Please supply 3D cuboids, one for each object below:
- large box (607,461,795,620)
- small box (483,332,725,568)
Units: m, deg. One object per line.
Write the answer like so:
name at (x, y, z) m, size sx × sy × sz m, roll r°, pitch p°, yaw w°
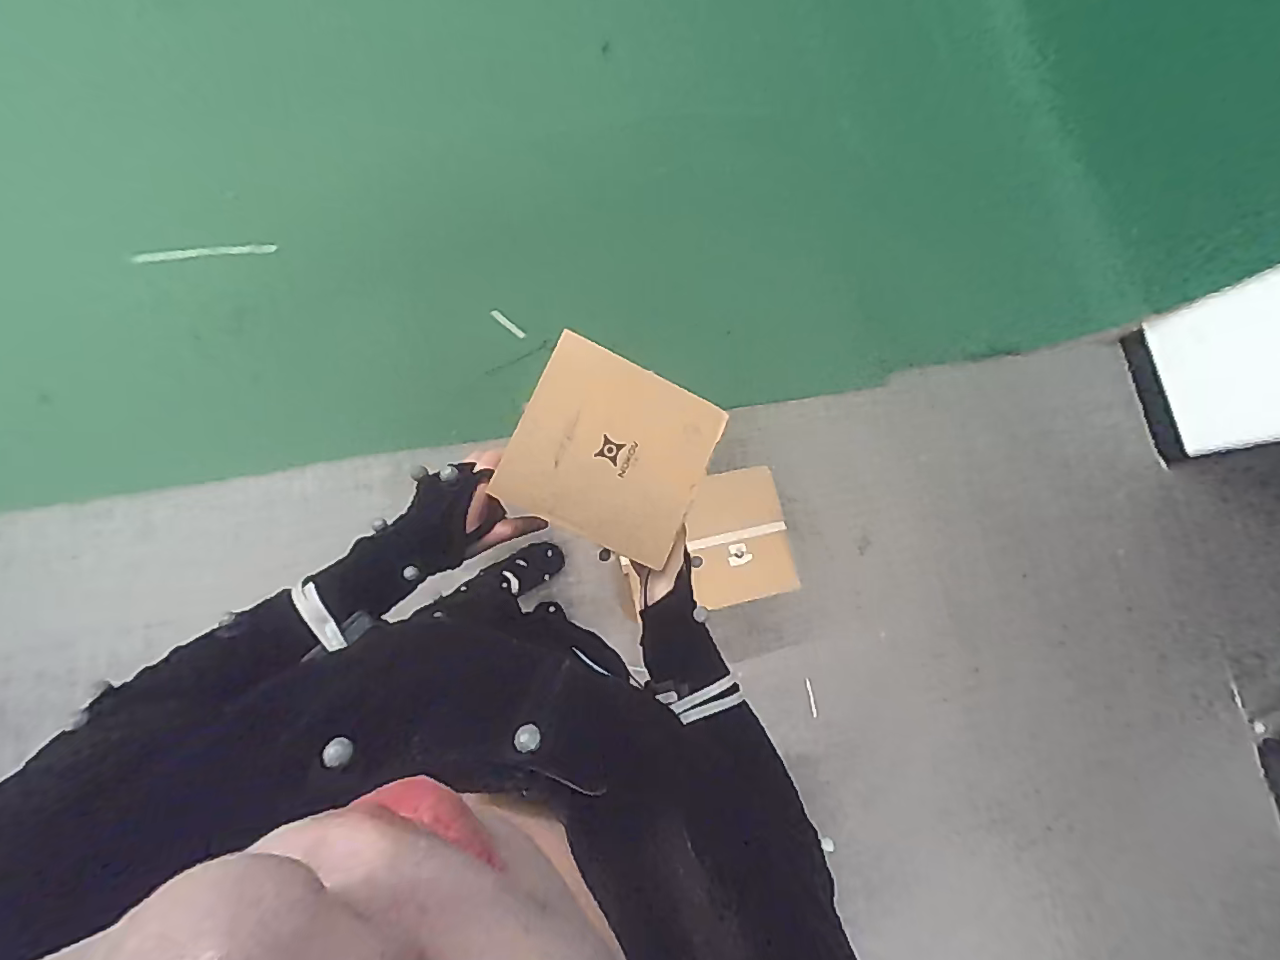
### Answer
large box at (0.127, 0.162, 1.424) m, size 0.408 × 0.320 × 0.320 m, roll -10°, pitch 82°, yaw -11°
small box at (-0.043, -0.025, 0.572) m, size 0.179 × 0.176 × 0.168 m, roll 26°, pitch 83°, yaw -9°
